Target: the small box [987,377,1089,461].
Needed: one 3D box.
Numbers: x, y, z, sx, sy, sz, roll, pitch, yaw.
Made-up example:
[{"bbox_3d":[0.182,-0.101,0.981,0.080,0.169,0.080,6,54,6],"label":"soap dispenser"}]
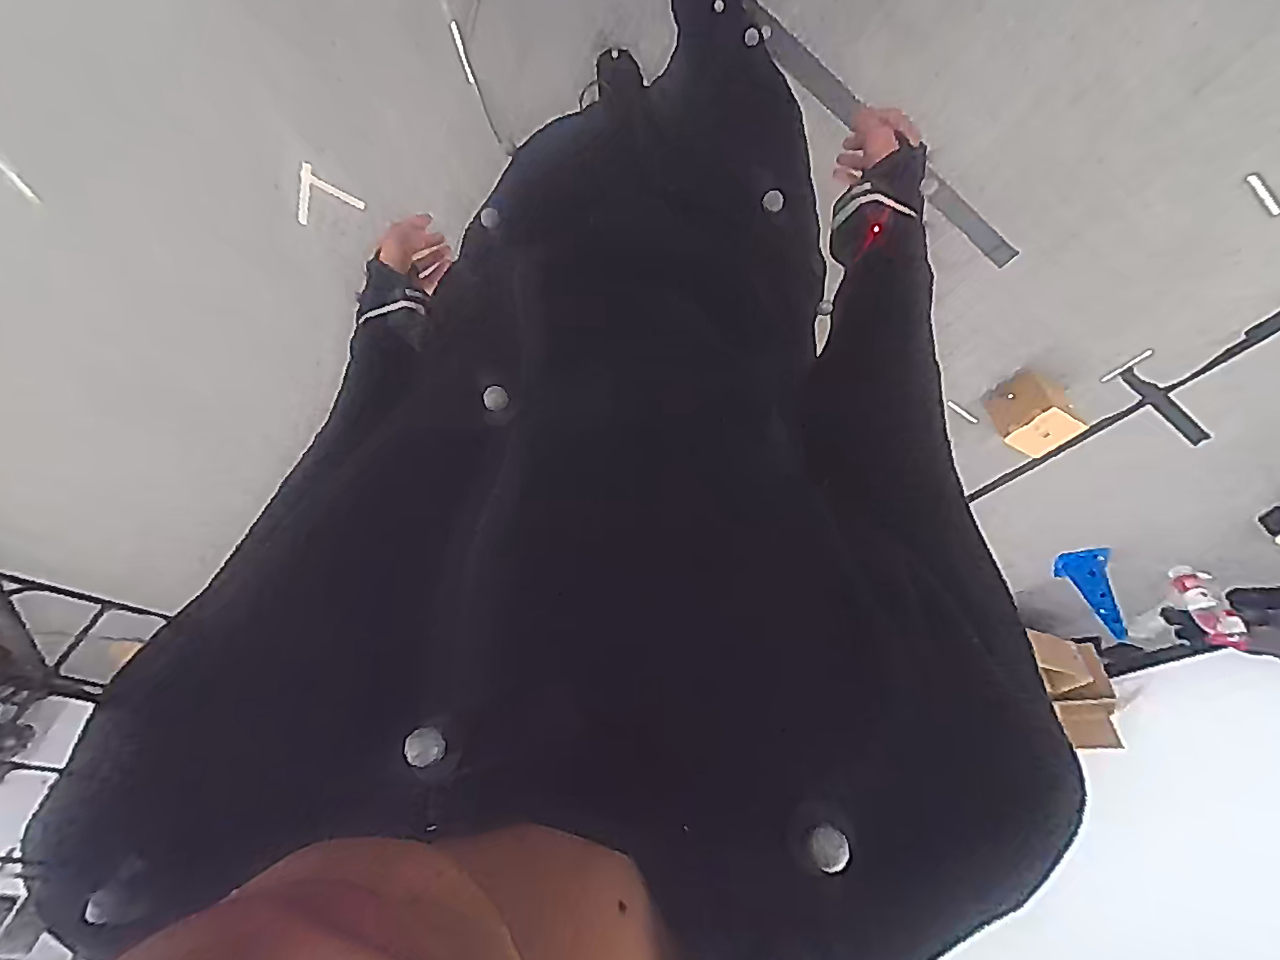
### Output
[{"bbox_3d":[1.241,-0.194,1.697,0.179,0.176,0.168,23,136,-18],"label":"small box"}]
